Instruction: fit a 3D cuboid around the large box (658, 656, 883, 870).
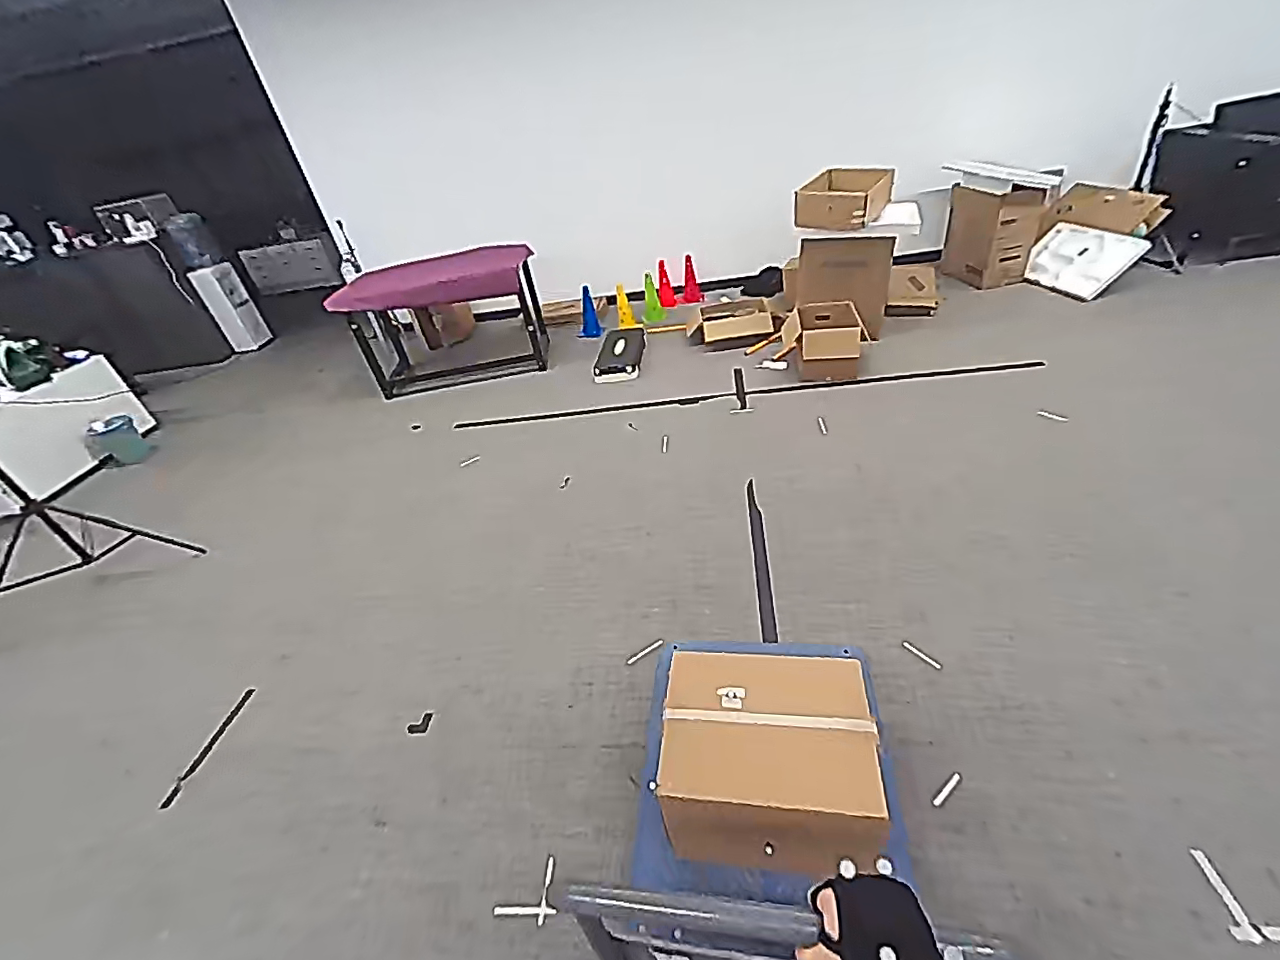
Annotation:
[{"bbox_3d":[0.274,0.606,1.177,0.408,0.320,0.320,-3,36,13],"label":"large box"}]
